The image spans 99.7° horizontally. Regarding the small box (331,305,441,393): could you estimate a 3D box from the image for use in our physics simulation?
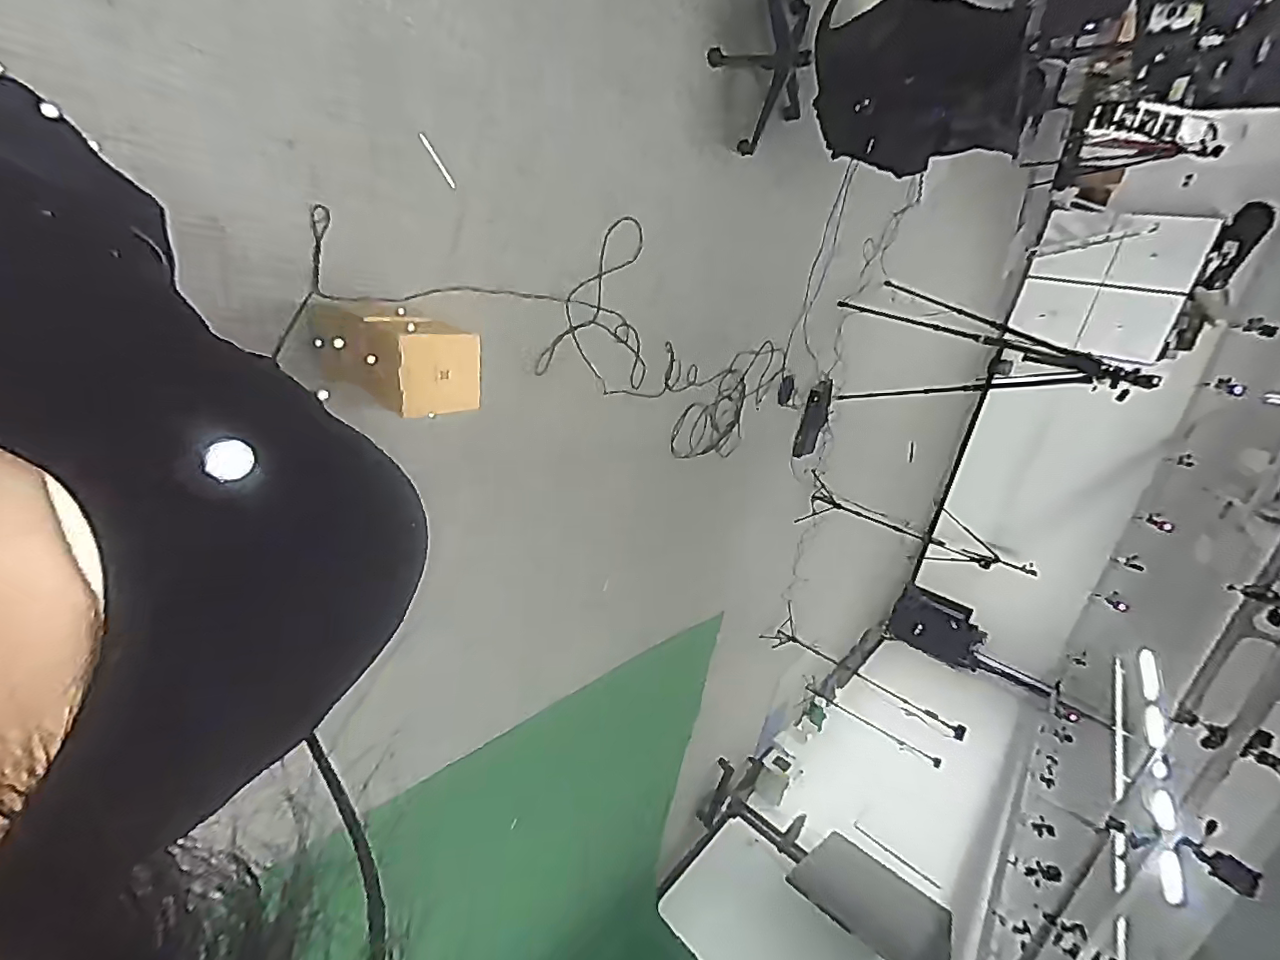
[{"bbox_3d":[-0.578,-0.302,1.235,0.179,0.176,0.168,-16,121,-45],"label":"small box"}]

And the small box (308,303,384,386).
[{"bbox_3d":[-0.698,-0.341,1.341,0.179,0.176,0.168,-21,126,-44],"label":"small box"}]

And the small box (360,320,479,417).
[{"bbox_3d":[-0.462,-0.242,1.138,0.179,0.176,0.168,-17,122,-45],"label":"small box"}]
